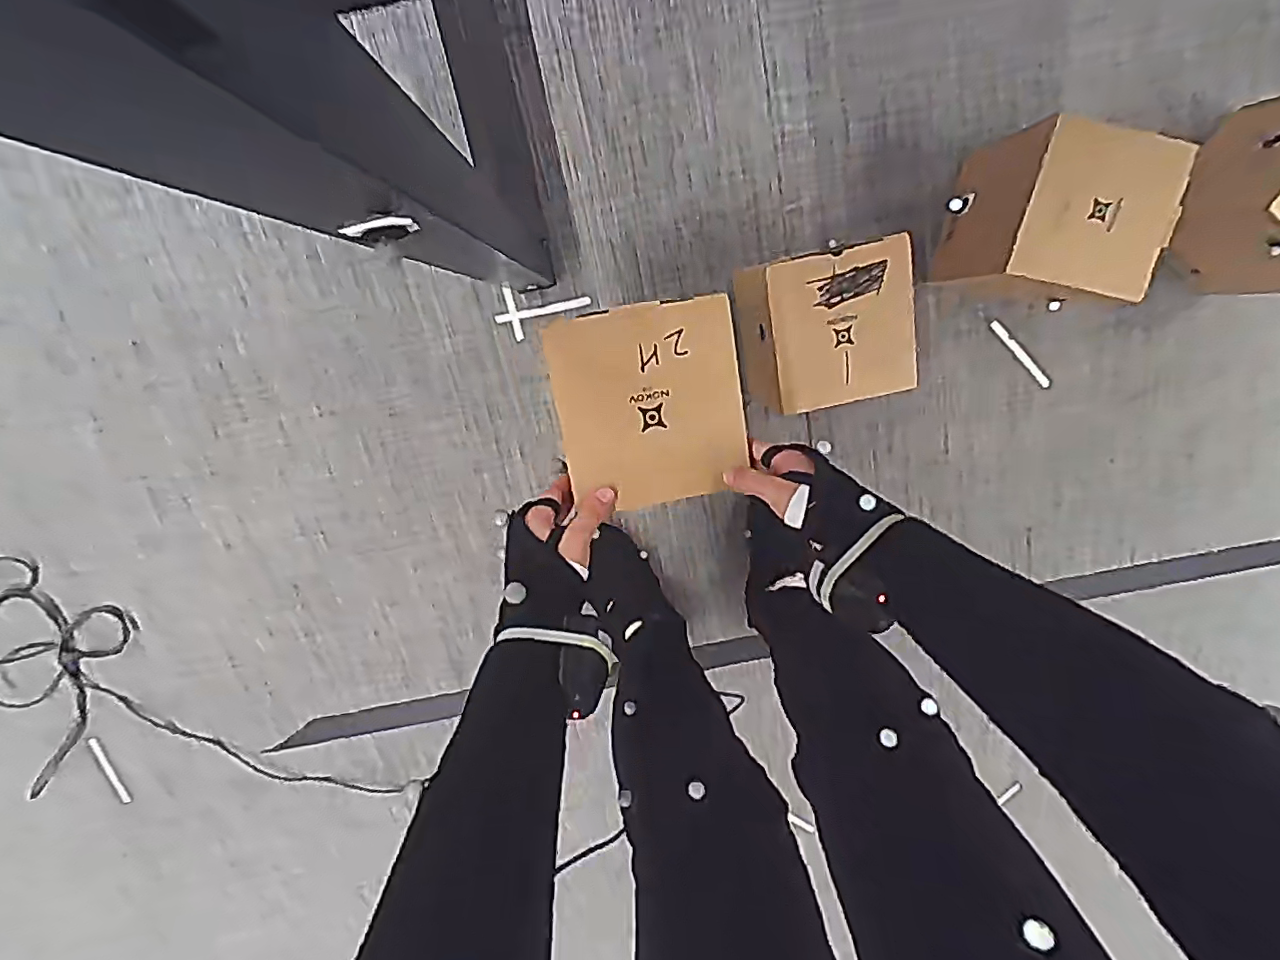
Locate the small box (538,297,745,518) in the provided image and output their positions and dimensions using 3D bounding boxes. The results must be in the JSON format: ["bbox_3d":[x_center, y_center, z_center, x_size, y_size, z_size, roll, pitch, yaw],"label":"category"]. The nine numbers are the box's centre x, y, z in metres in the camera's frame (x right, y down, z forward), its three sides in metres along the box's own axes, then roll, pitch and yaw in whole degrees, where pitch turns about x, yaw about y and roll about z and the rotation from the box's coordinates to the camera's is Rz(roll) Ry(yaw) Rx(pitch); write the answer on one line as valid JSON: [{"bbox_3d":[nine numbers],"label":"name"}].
[{"bbox_3d":[-0.005,-0.078,0.556,0.168,0.176,0.179,-11,102,-7],"label":"small box"}]

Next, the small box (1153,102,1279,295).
[{"bbox_3d":[0.800,-0.354,0.676,0.168,0.176,0.179,31,103,-11],"label":"small box"}]

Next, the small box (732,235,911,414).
[{"bbox_3d":[0.224,-0.197,0.697,0.168,0.176,0.179,-12,108,1],"label":"small box"}]

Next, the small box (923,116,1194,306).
[{"bbox_3d":[0.499,-0.317,0.676,0.179,0.176,0.168,9,105,-4],"label":"small box"}]
